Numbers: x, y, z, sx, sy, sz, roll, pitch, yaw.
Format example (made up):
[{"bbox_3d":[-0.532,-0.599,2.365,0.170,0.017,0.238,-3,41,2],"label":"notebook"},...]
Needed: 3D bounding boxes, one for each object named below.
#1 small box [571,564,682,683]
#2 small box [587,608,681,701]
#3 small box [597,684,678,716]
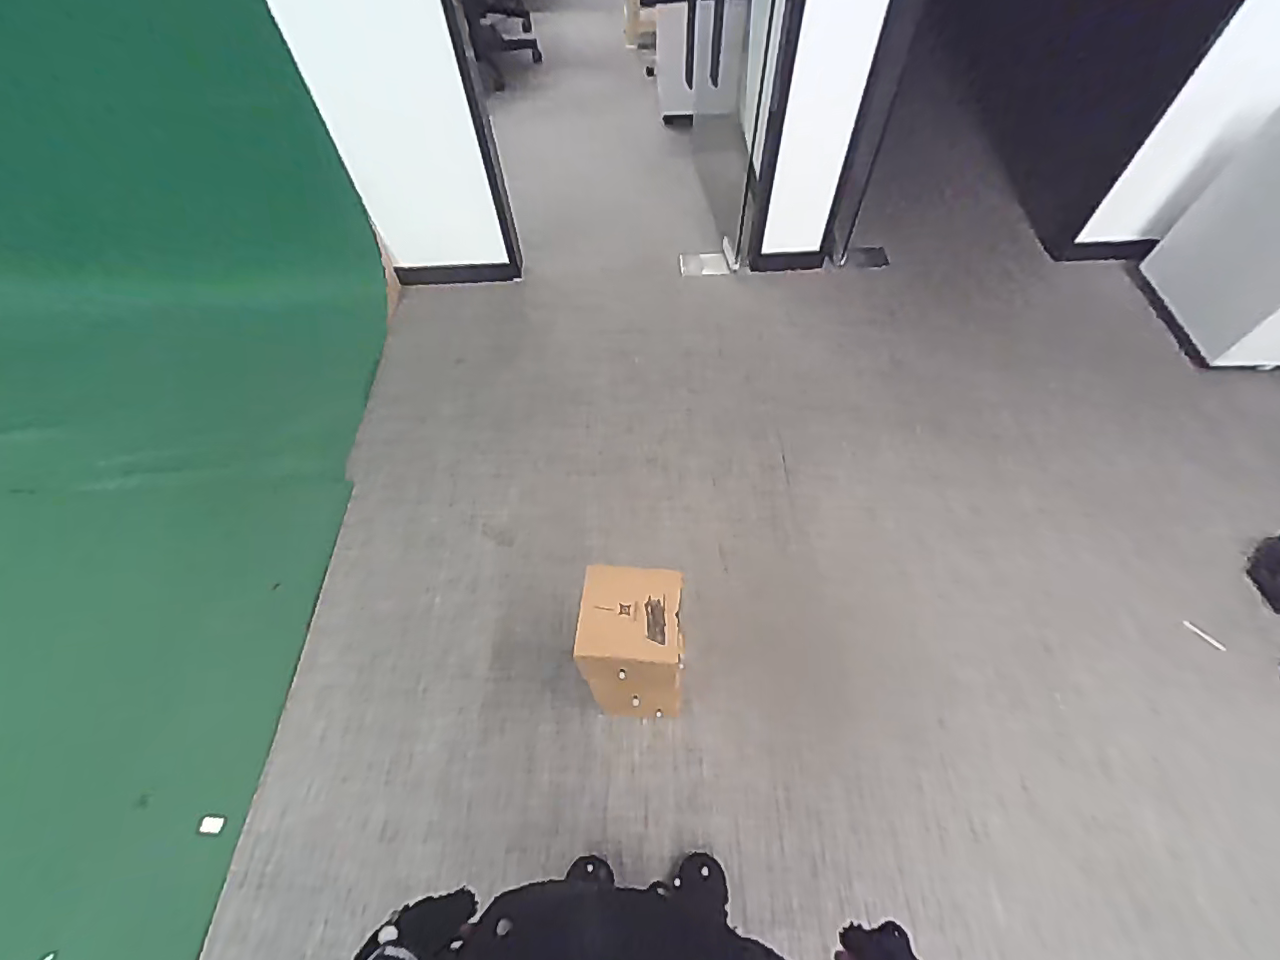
[{"bbox_3d":[-0.016,0.270,1.003,0.179,0.176,0.168,3,57,6],"label":"small box"},{"bbox_3d":[-0.008,0.361,1.140,0.179,0.176,0.168,3,57,3],"label":"small box"},{"bbox_3d":[0.000,0.453,1.275,0.179,0.176,0.168,0,56,3],"label":"small box"}]
